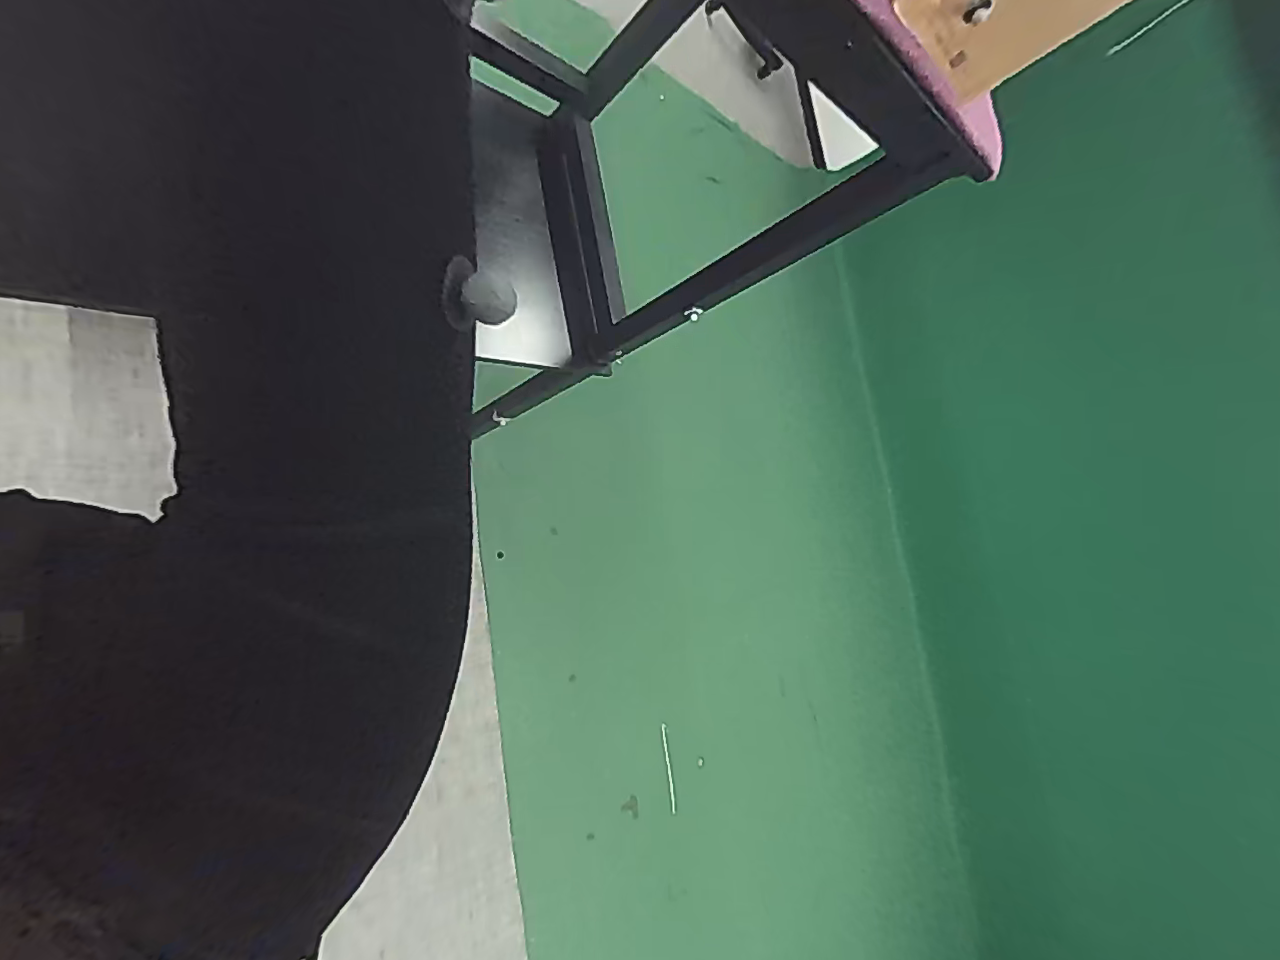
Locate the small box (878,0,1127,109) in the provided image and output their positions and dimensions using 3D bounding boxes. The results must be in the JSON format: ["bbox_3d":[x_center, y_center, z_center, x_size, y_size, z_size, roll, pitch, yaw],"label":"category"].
[{"bbox_3d":[0.333,-0.519,0.518,0.168,0.176,0.179,11,73,-41],"label":"small box"}]
